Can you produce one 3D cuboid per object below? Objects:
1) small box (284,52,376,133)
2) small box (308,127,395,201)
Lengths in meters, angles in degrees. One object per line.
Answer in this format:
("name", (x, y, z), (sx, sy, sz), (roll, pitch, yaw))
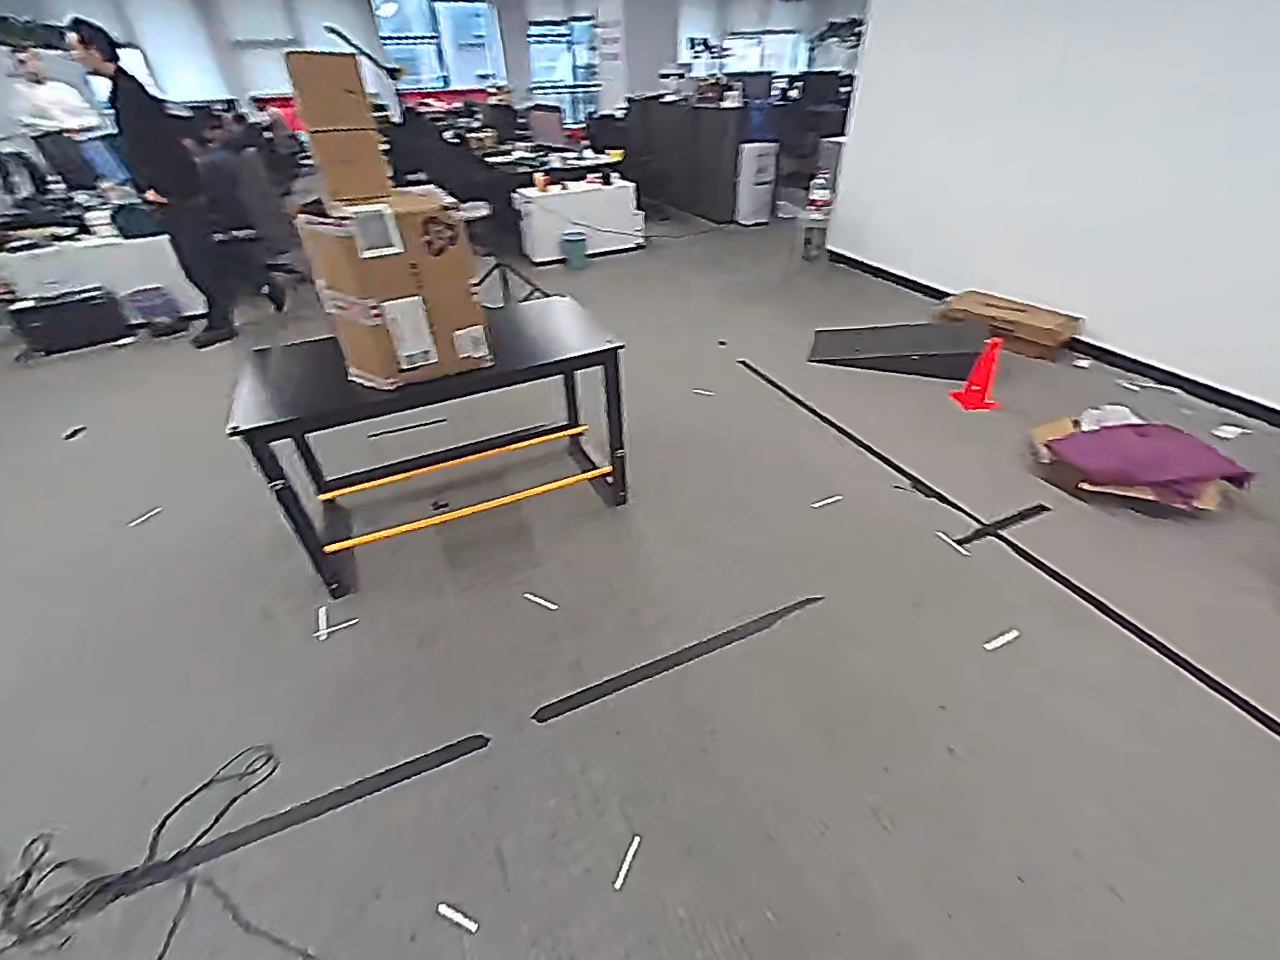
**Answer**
("small box", (-0.835, -1.047, 1.466), (0.179, 0.176, 0.168), (-21, 38, -24))
("small box", (-0.833, -0.915, 1.564), (0.179, 0.176, 0.168), (-19, 39, -22))
